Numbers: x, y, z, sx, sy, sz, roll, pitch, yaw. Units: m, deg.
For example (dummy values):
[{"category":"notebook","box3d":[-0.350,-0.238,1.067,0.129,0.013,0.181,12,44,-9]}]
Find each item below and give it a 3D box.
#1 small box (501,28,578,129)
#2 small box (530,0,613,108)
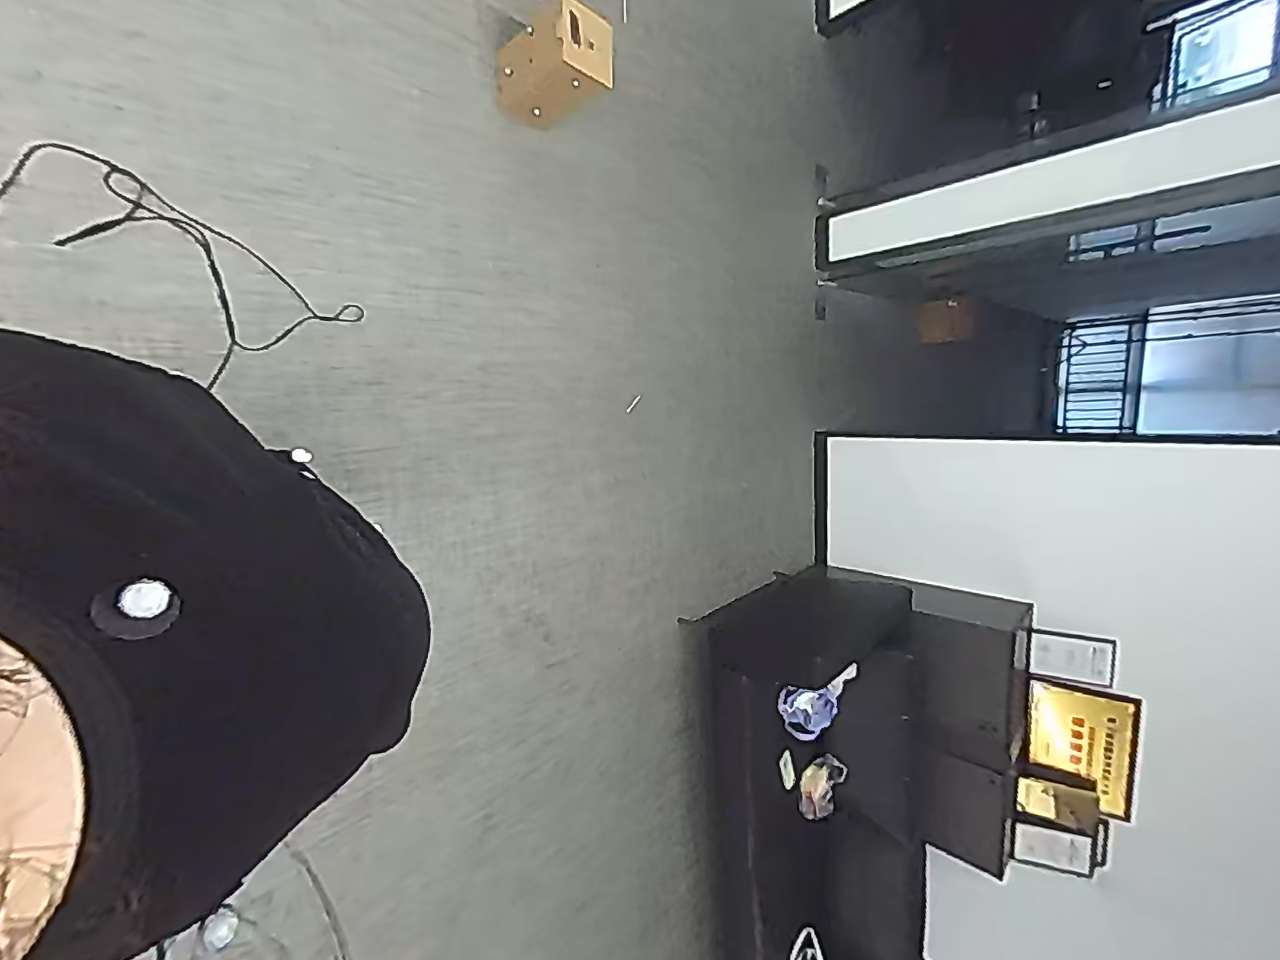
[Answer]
[{"category":"small box","box3d":[-0.306,-1.191,1.623,0.179,0.176,0.168,-8,101,-44]},{"category":"small box","box3d":[-0.193,-1.177,1.503,0.179,0.176,0.168,-6,100,-45]}]
